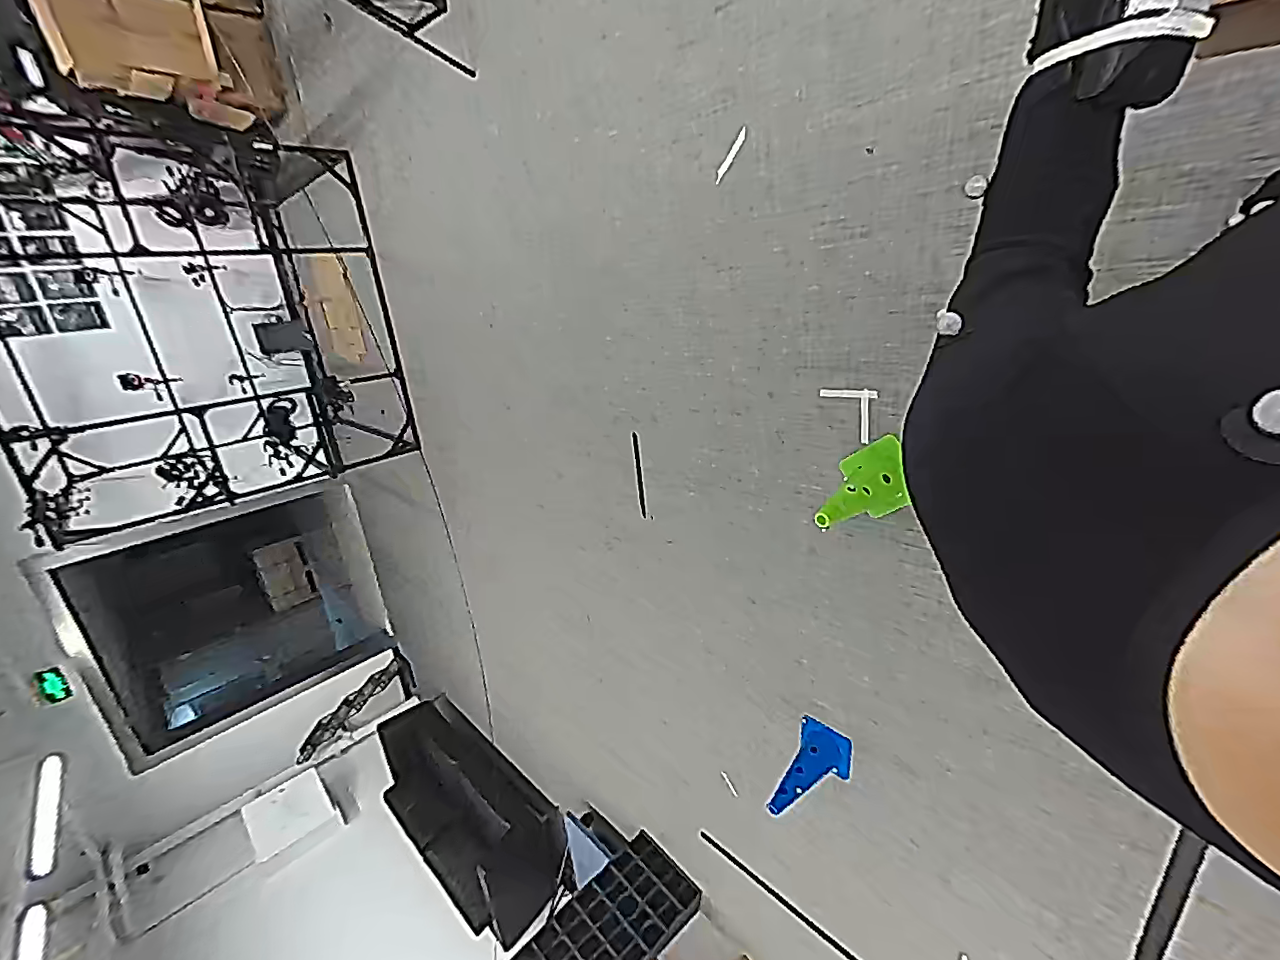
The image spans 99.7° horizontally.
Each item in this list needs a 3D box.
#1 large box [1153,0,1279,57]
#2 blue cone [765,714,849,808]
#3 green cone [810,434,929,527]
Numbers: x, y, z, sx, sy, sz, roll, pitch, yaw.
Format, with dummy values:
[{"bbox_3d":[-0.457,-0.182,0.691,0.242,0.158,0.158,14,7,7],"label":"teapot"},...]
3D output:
[{"bbox_3d":[0.555,-0.449,0.245,0.408,0.320,0.320,19,126,42],"label":"large box"},{"bbox_3d":[0.586,1.054,1.958,0.192,0.380,0.193,20,121,44],"label":"blue cone"},{"bbox_3d":[0.576,0.039,1.456,0.200,0.368,0.202,61,142,9],"label":"green cone"}]
